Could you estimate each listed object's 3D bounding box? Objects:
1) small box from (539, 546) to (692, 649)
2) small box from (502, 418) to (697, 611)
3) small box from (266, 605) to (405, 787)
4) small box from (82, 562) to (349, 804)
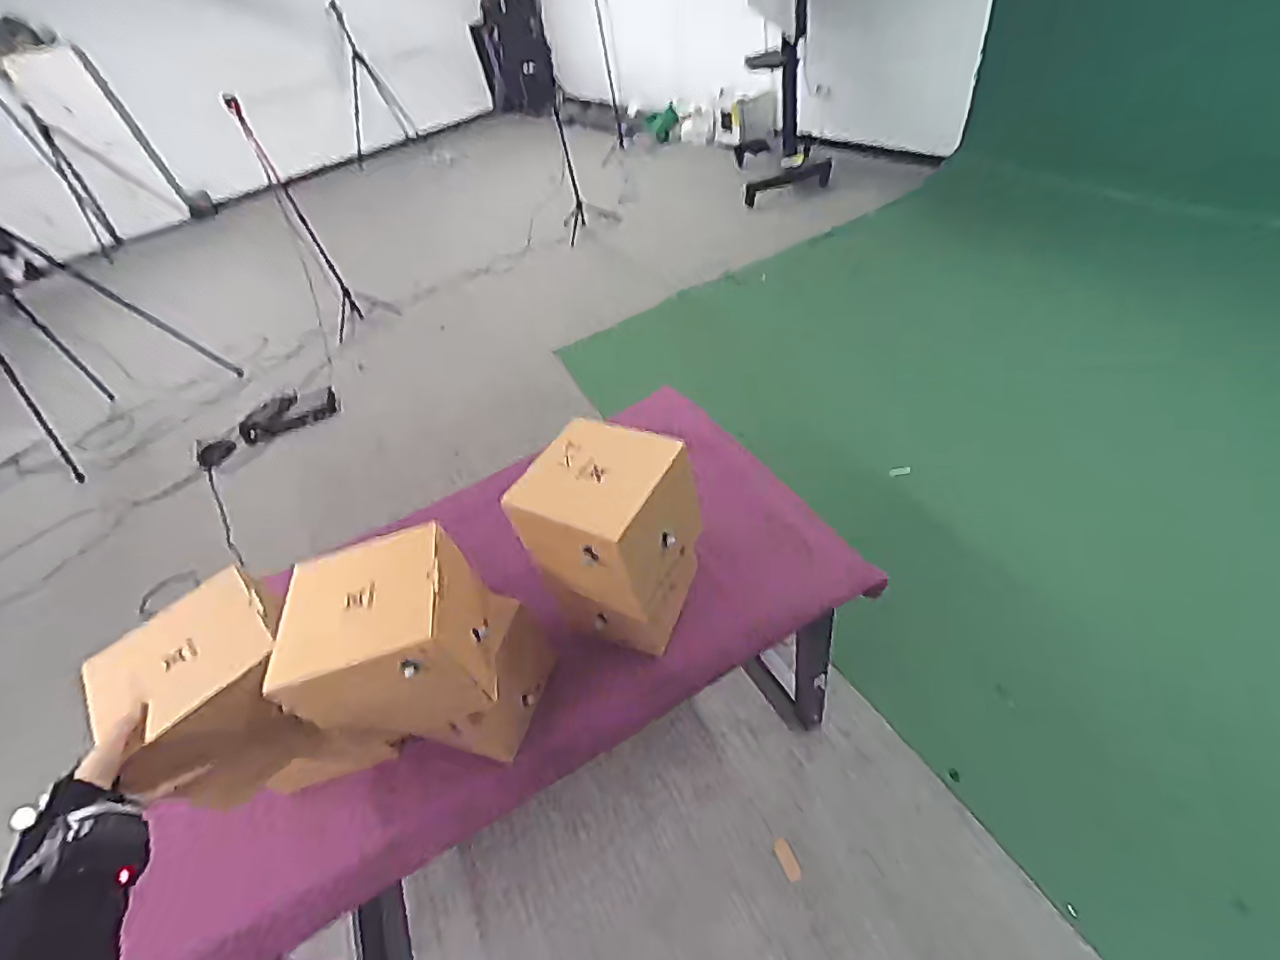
[{"bbox_3d":[-0.026,0.139,0.851,0.168,0.176,0.179,10,50,24],"label":"small box"},{"bbox_3d":[-0.040,0.046,0.709,0.179,0.176,0.168,15,51,29],"label":"small box"},{"bbox_3d":[-0.471,0.318,0.790,0.179,0.176,0.168,-18,45,-4],"label":"small box"},{"bbox_3d":[-0.478,0.238,0.636,0.179,0.176,0.168,-41,54,-21],"label":"small box"}]
